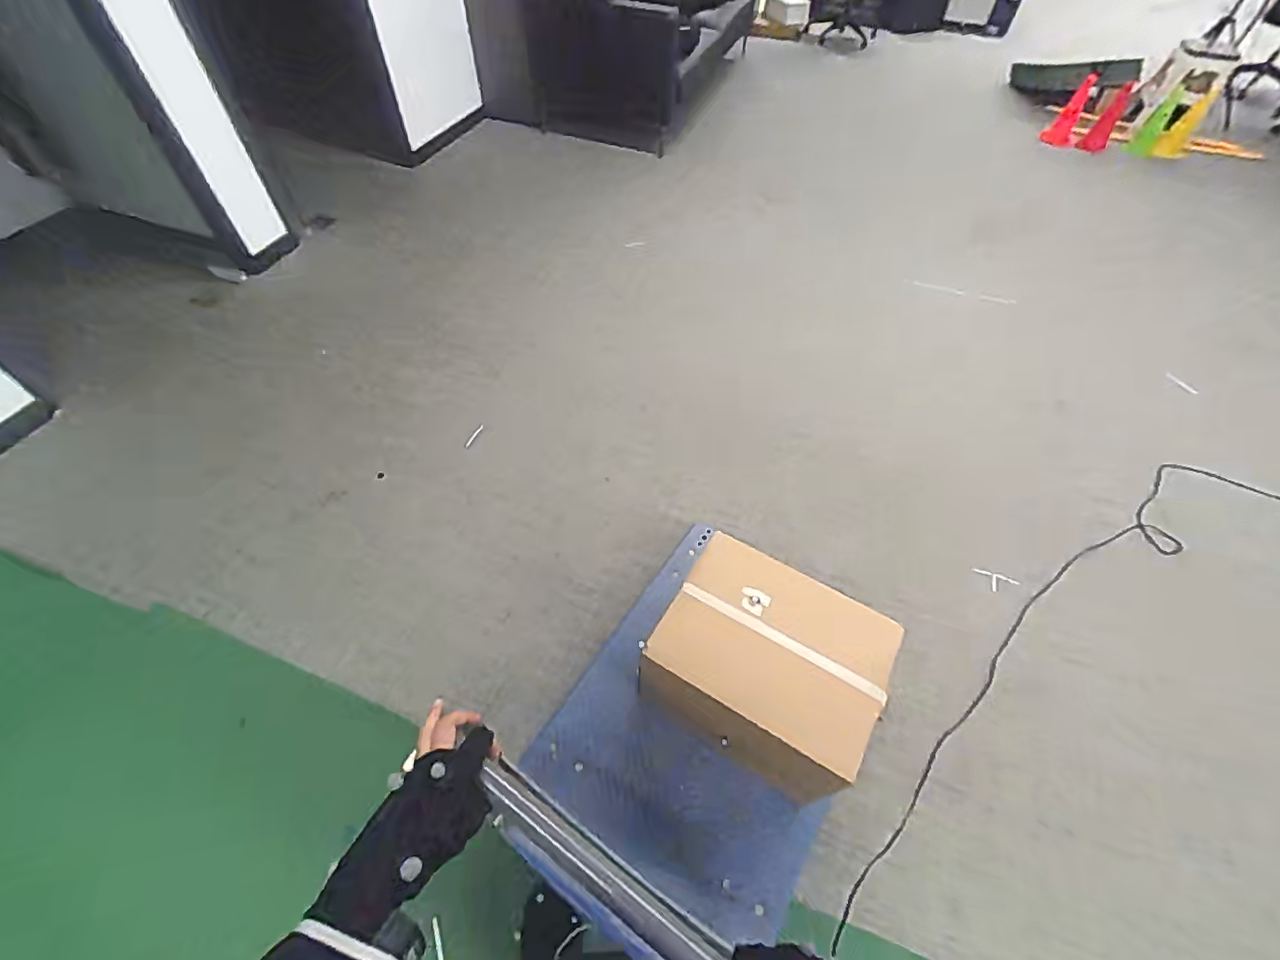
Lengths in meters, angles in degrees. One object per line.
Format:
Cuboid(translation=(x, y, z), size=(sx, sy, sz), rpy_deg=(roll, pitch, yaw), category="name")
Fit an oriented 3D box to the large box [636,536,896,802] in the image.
Cuboid(translation=(0.241, 0.390, 1.121), size=(0.408, 0.320, 0.320), rpy_deg=(27, 56, 19), category="large box")
